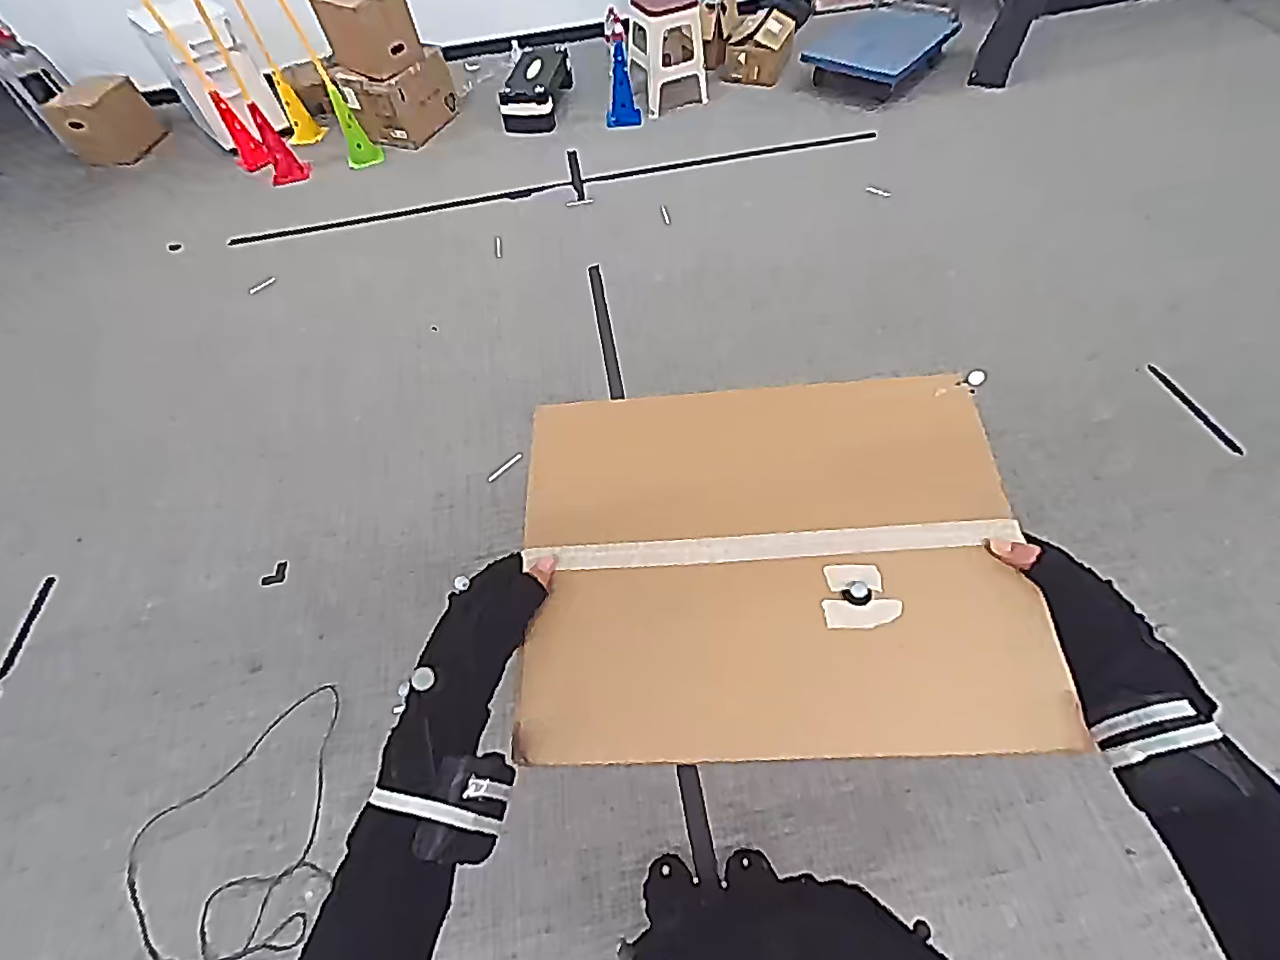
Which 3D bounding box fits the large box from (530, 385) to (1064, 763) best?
[{"bbox_3d":[0.116,0.126,0.599,0.408,0.320,0.320,-4,64,4],"label":"large box"}]
